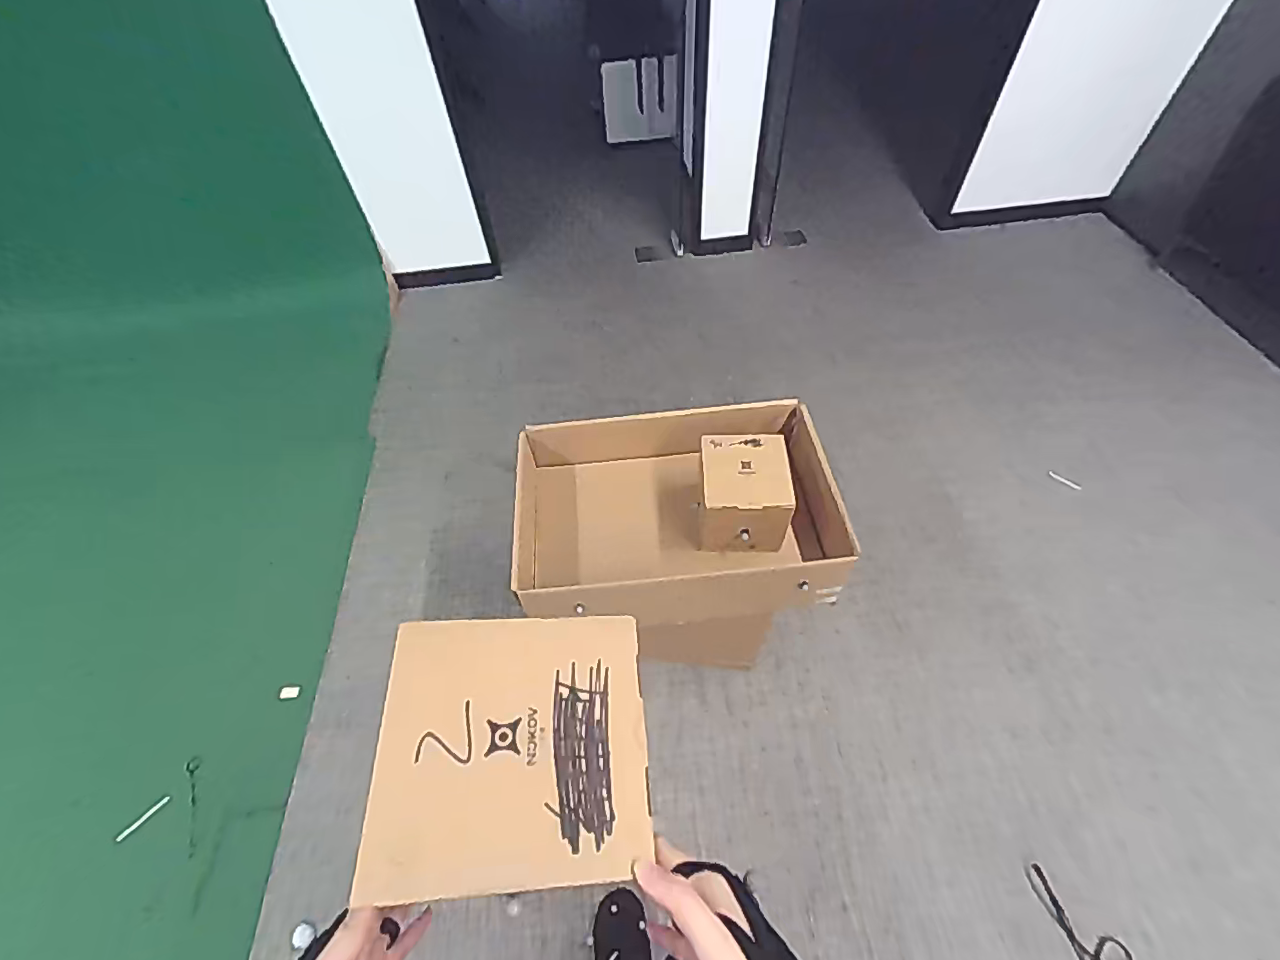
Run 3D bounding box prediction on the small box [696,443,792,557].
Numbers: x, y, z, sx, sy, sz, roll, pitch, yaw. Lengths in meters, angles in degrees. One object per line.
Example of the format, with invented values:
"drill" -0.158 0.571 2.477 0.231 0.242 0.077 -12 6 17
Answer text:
"small box" 0.201 0.044 1.091 0.168 0.176 0.179 1 54 2
